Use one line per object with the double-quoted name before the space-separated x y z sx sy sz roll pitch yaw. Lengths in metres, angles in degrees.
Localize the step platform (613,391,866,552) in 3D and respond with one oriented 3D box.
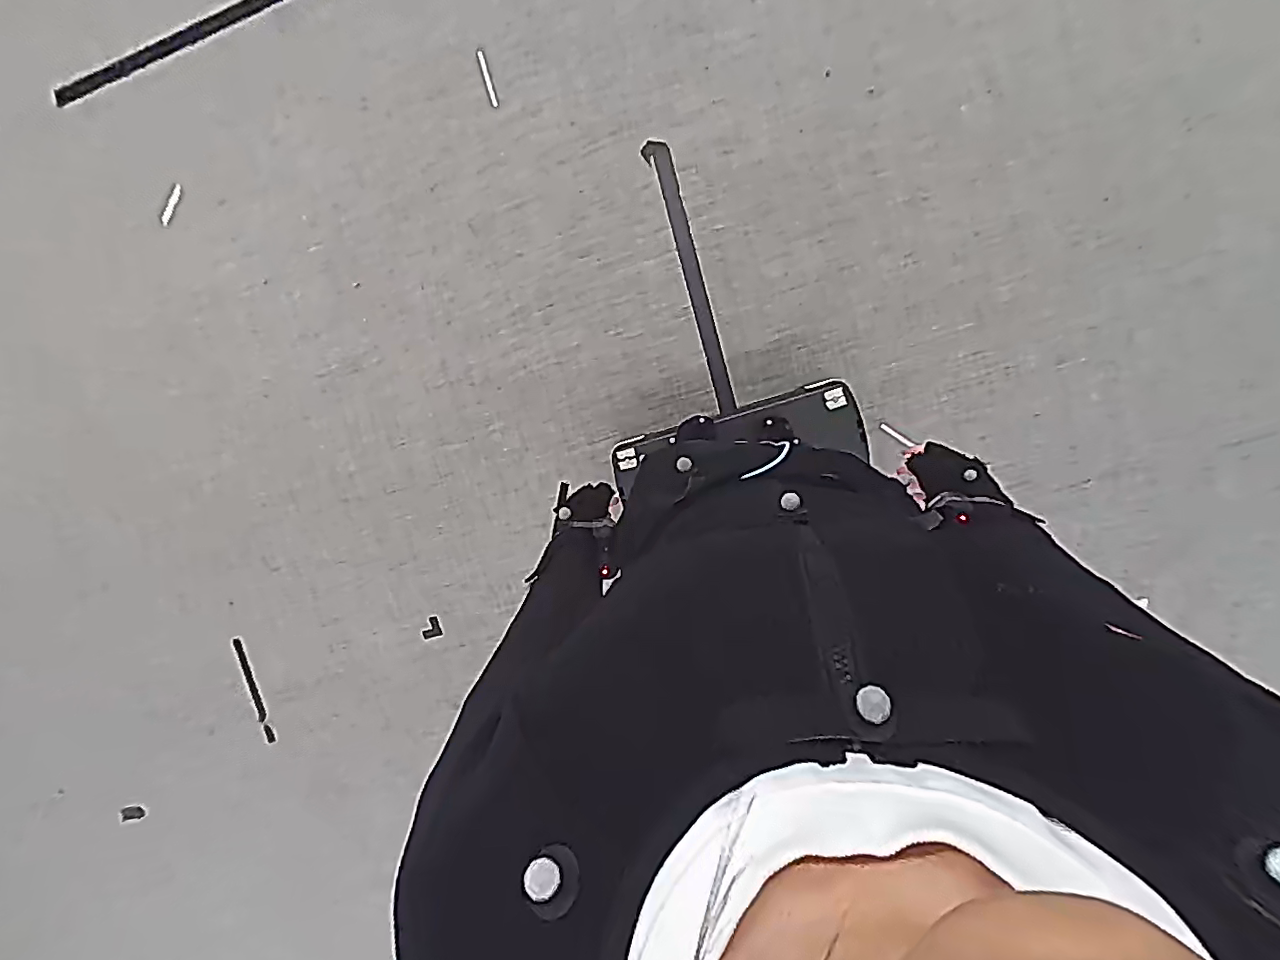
"step platform" 0.268 -0.022 1.531 0.684 0.204 0.286 -17 96 7
